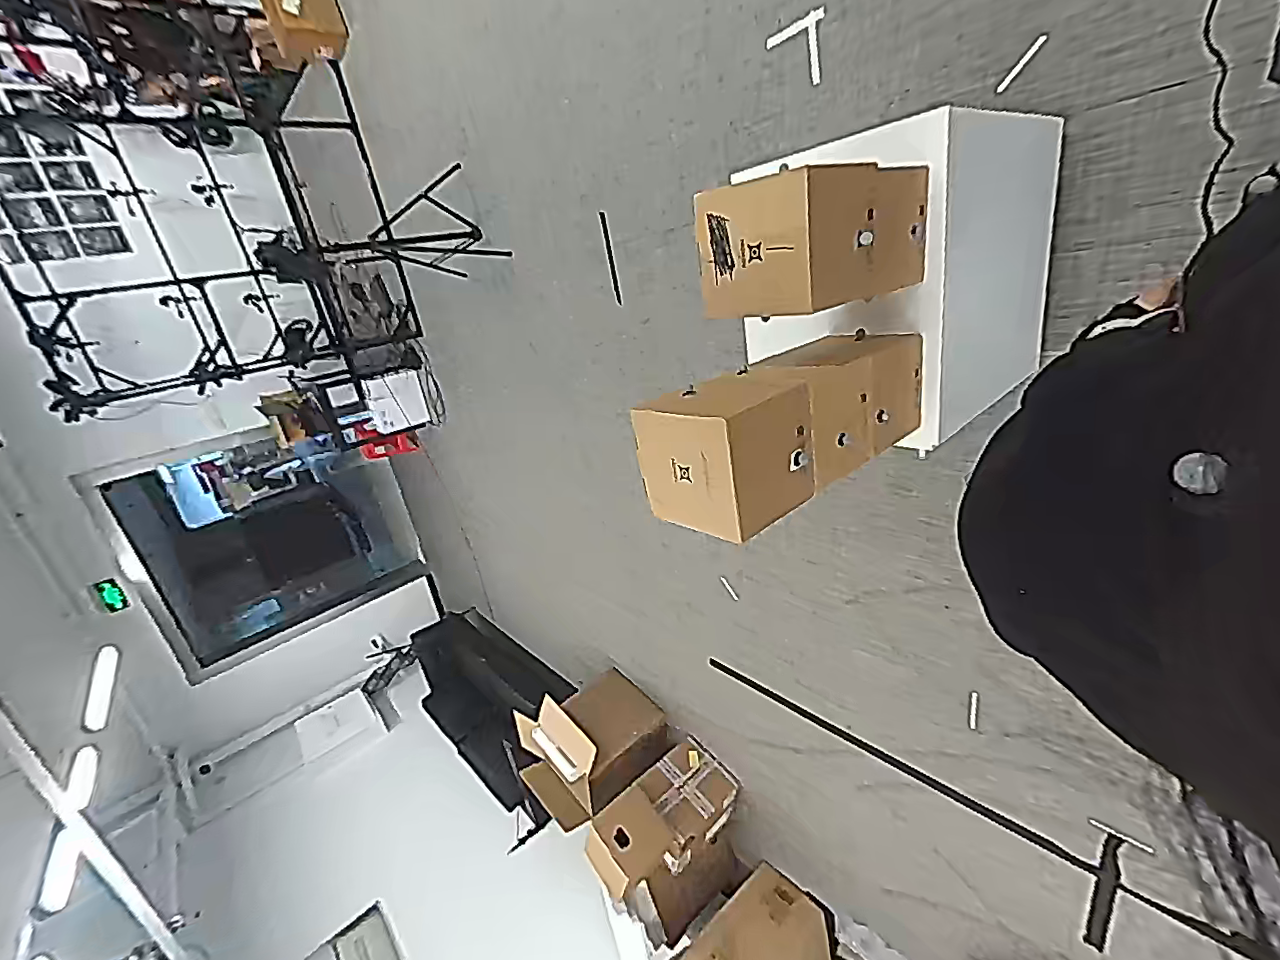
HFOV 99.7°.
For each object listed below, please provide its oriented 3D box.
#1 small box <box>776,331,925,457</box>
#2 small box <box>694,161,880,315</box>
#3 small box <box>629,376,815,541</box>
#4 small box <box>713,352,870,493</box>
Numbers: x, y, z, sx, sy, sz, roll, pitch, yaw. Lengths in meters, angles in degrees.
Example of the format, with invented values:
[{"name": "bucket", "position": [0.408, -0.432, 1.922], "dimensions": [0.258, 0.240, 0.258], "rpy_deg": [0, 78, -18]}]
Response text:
[{"name": "small box", "position": [0.357, -0.155, 0.924], "dimensions": [0.179, 0.176, 0.168], "rpy_deg": [17, 125, 49]}, {"name": "small box", "position": [0.199, -0.323, 0.734], "dimensions": [0.179, 0.176, 0.168], "rpy_deg": [16, 124, 46]}, {"name": "small box", "position": [0.114, -0.041, 0.741], "dimensions": [0.179, 0.176, 0.168], "rpy_deg": [13, 122, 48]}, {"name": "small box", "position": [0.237, -0.097, 0.831], "dimensions": [0.179, 0.176, 0.168], "rpy_deg": [14, 122, 49]}]
